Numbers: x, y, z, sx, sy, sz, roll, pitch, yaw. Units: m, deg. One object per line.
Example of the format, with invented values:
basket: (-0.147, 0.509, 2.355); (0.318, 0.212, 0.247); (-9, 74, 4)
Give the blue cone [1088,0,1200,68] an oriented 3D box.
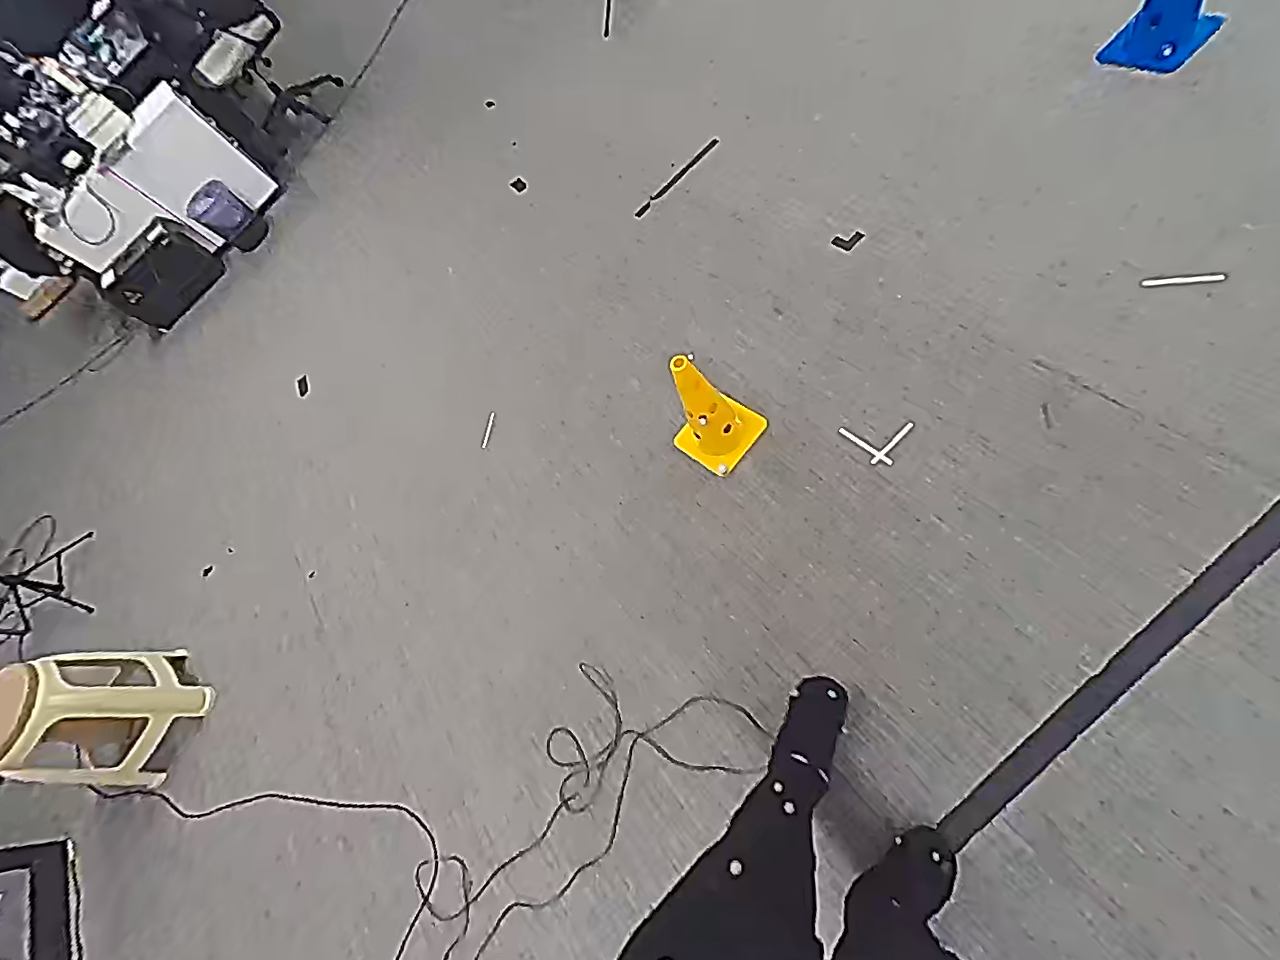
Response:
blue cone: (1.278, -1.238, 1.303); (0.193, 0.380, 0.192); (-44, 57, 1)
